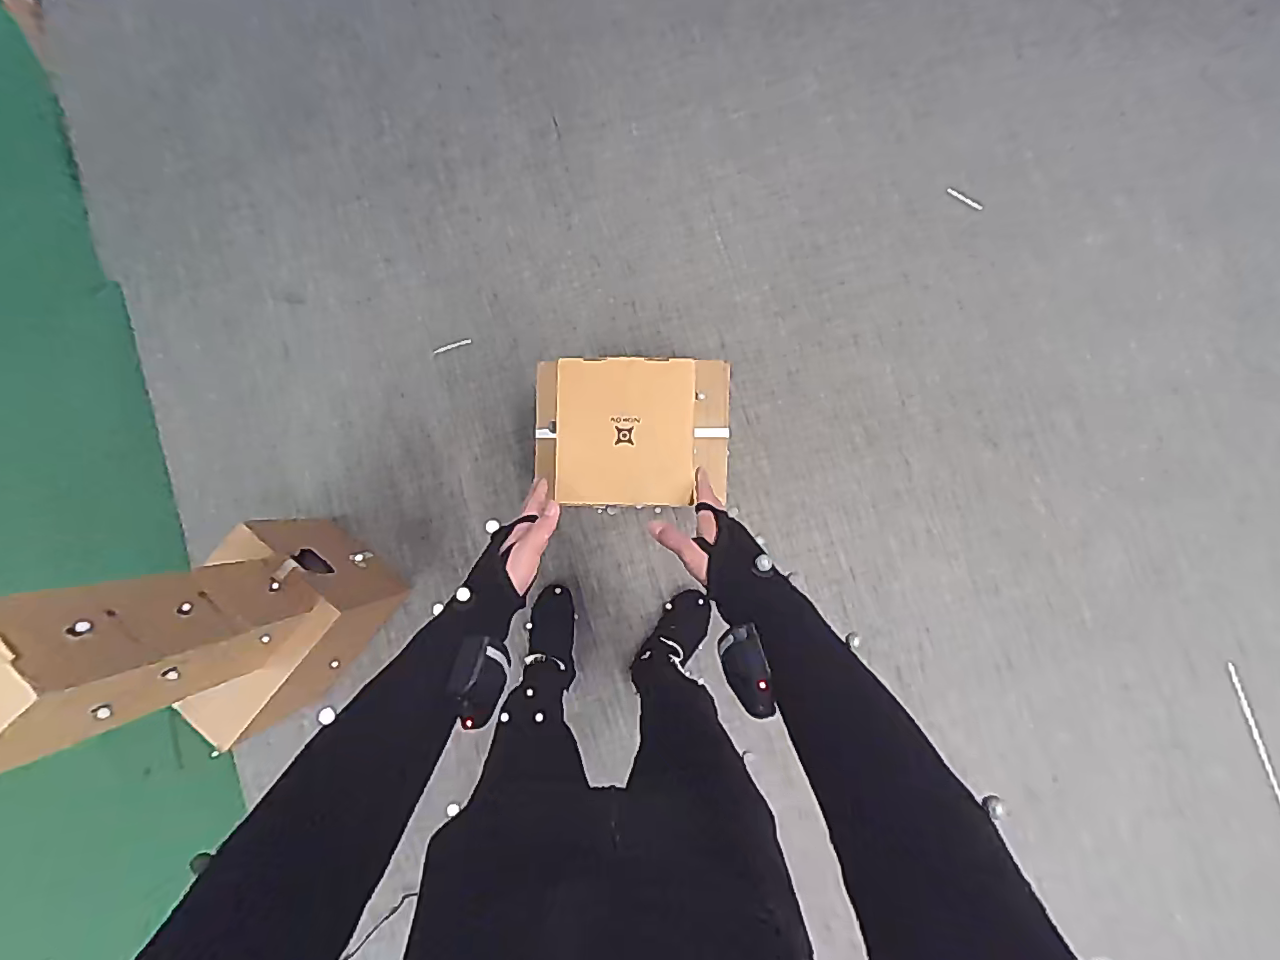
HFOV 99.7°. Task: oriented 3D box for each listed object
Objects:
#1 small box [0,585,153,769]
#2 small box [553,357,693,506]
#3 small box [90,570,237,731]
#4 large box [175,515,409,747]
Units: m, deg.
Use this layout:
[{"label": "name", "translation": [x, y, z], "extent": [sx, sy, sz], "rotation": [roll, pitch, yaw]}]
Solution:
[{"label": "small box", "translation": [-0.842, 0.267, 0.749], "extent": [0.168, 0.176, 0.179], "rotation": [45, 90, 5]}, {"label": "small box", "translation": [-0.016, -0.057, 0.717], "extent": [0.168, 0.176, 0.179], "rotation": [1, 88, 3]}, {"label": "small box", "translation": [-0.835, 0.272, 0.913], "extent": [0.168, 0.176, 0.179], "rotation": [45, 91, 5]}, {"label": "large box", "translation": [-0.865, 0.336, 1.325], "extent": [0.320, 0.320, 0.408], "rotation": [40, 91, 6]}]
